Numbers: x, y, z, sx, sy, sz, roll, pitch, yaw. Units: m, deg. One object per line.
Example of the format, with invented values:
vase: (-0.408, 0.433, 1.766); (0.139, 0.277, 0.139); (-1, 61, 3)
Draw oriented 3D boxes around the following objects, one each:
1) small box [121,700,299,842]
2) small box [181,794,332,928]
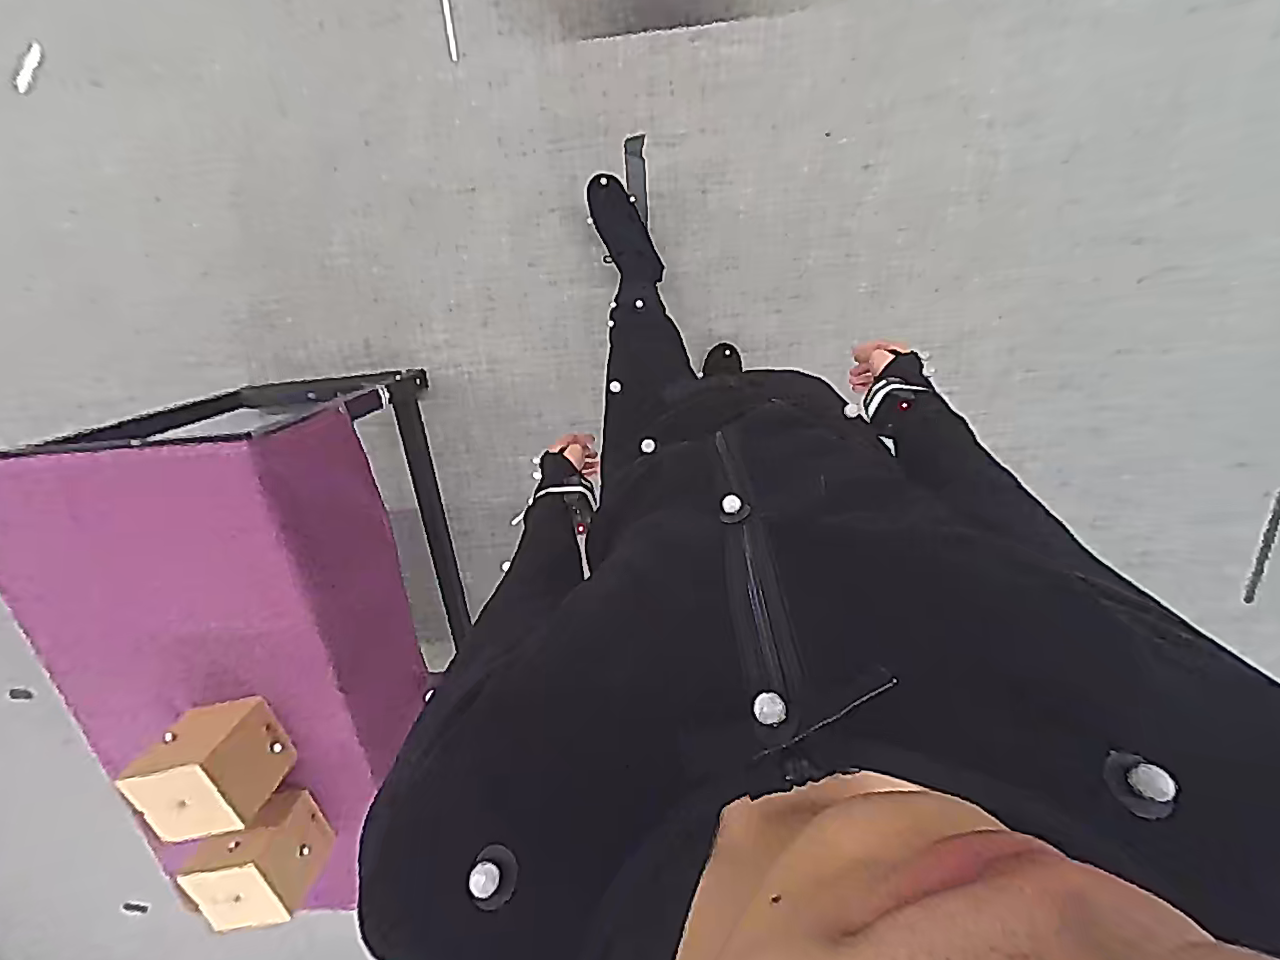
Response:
small box: (-0.821, 0.560, 1.053); (0.179, 0.176, 0.168); (-13, 110, 8)
small box: (-0.788, 0.795, 1.141); (0.179, 0.176, 0.168); (-12, 109, 8)
